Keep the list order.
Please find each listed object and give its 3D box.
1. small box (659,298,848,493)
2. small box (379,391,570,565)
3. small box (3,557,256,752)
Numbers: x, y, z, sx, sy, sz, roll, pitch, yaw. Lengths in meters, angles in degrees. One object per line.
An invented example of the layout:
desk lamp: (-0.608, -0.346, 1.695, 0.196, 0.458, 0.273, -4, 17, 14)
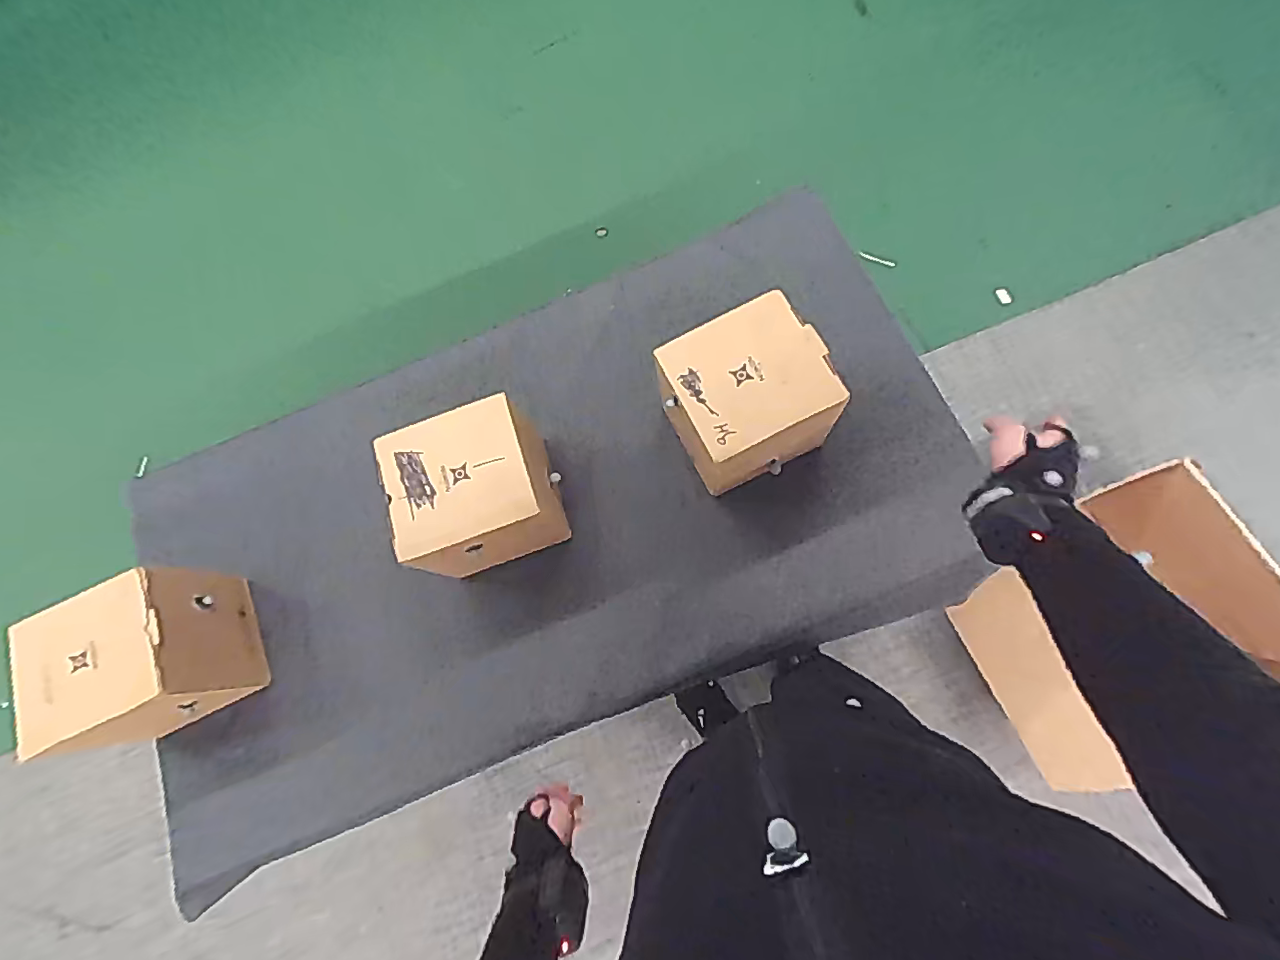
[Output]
small box: (0.142, -0.103, 0.730, 0.179, 0.176, 0.168, -28, 75, -1)
small box: (-0.210, 0.008, 0.719, 0.179, 0.176, 0.168, -17, 75, 2)
small box: (-0.639, 0.217, 0.699, 0.179, 0.176, 0.168, -26, 73, 0)
